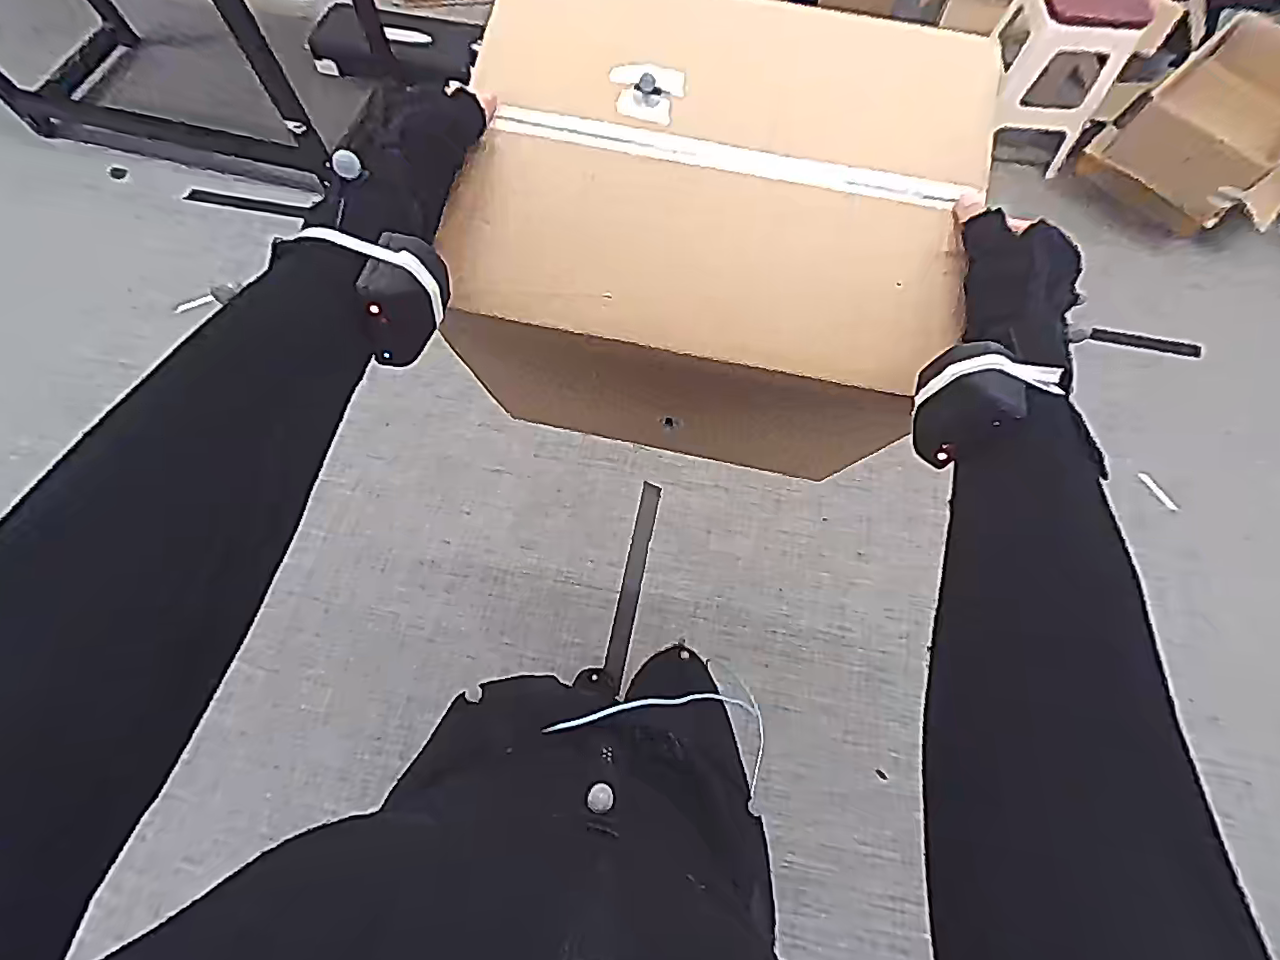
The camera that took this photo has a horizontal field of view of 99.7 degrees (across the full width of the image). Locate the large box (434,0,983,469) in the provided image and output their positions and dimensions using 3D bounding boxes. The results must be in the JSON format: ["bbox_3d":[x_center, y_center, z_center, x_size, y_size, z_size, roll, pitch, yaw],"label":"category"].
[{"bbox_3d":[0.066,-0.217,0.581,0.408,0.320,0.320,12,80,3],"label":"large box"}]
